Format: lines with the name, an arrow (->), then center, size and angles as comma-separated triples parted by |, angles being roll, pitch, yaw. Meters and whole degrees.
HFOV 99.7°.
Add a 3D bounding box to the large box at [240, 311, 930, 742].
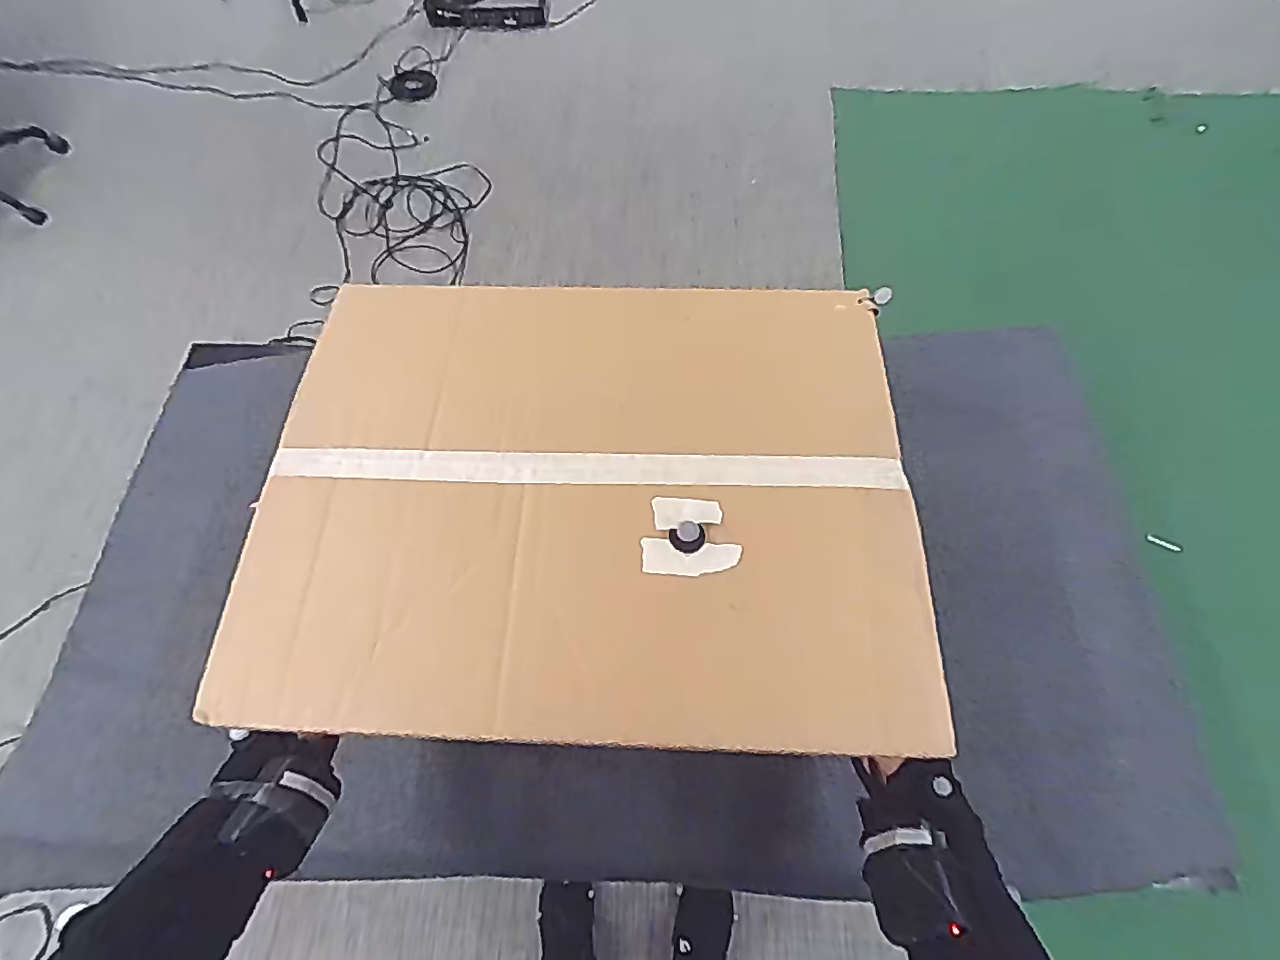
large box -> -0.029, 0.066, 0.503 | 0.408, 0.320, 0.320 | 1, 66, 2
